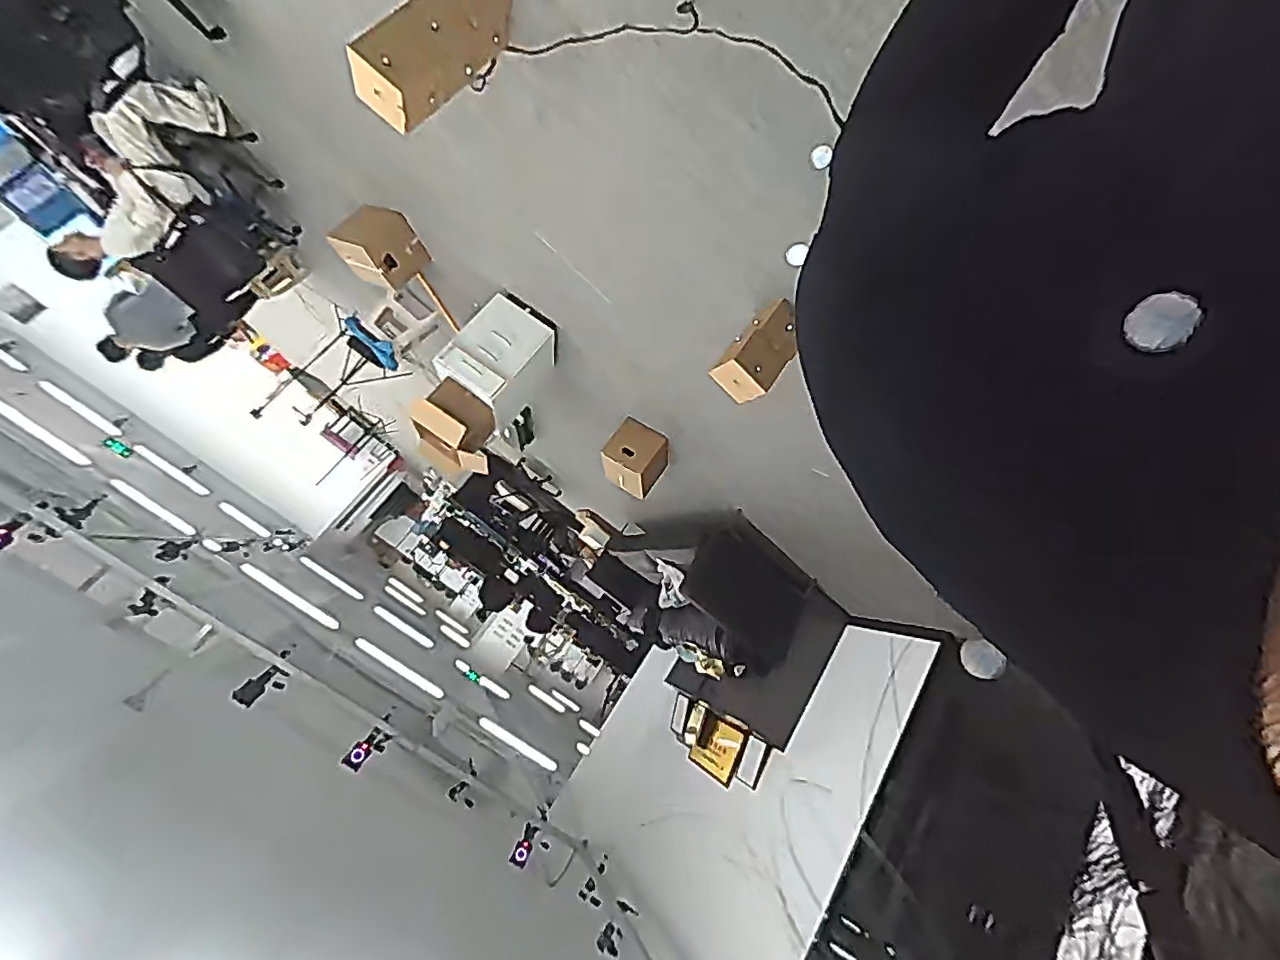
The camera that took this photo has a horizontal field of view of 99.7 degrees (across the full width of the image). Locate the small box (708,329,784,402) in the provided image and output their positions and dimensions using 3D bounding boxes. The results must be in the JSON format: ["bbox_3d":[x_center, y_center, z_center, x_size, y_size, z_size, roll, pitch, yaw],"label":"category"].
[{"bbox_3d":[0.388,-0.415,1.963,0.179,0.176,0.168,42,159,-15],"label":"small box"}]

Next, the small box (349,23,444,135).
[{"bbox_3d":[-0.693,-1.158,1.555,0.179,0.176,0.168,38,161,-10],"label":"small box"}]

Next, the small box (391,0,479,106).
[{"bbox_3d":[-0.608,-1.285,1.612,0.179,0.176,0.168,39,161,-11],"label":"small box"}]

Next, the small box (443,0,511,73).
[{"bbox_3d":[-0.513,-1.415,1.648,0.179,0.176,0.168,39,160,-7],"label":"small box"}]

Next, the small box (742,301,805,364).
[{"bbox_3d":[0.488,-0.534,2.013,0.168,0.176,0.179,42,160,-15],"label":"small box"}]
